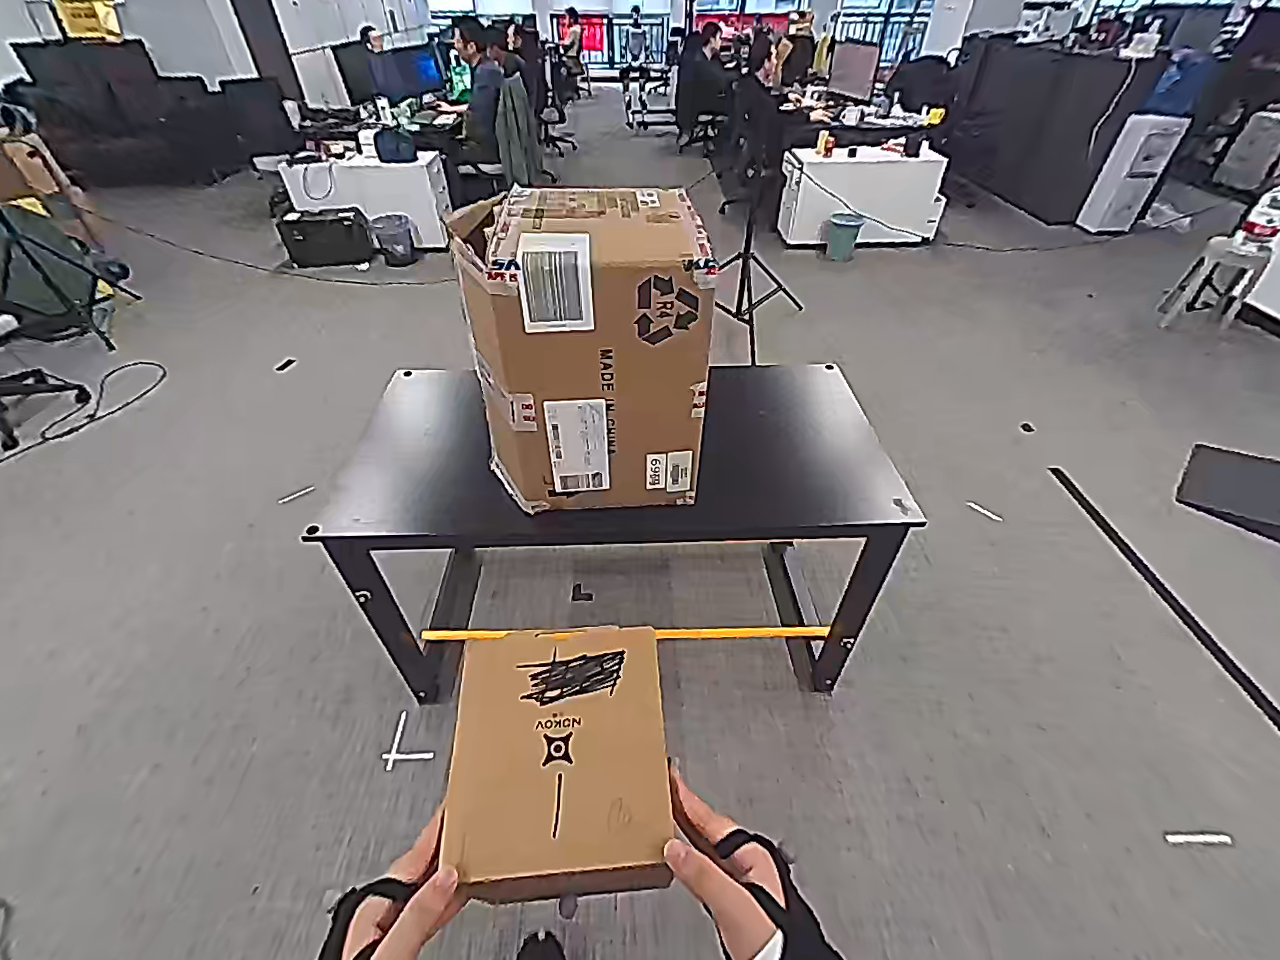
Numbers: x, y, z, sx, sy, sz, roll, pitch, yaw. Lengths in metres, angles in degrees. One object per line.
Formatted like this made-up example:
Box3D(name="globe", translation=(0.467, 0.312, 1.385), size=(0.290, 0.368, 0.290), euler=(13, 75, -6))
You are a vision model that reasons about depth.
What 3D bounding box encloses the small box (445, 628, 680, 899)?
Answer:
Box3D(name="small box", translation=(-0.058, 0.255, 0.487), size=(0.168, 0.176, 0.179), euler=(-4, 49, -2))
